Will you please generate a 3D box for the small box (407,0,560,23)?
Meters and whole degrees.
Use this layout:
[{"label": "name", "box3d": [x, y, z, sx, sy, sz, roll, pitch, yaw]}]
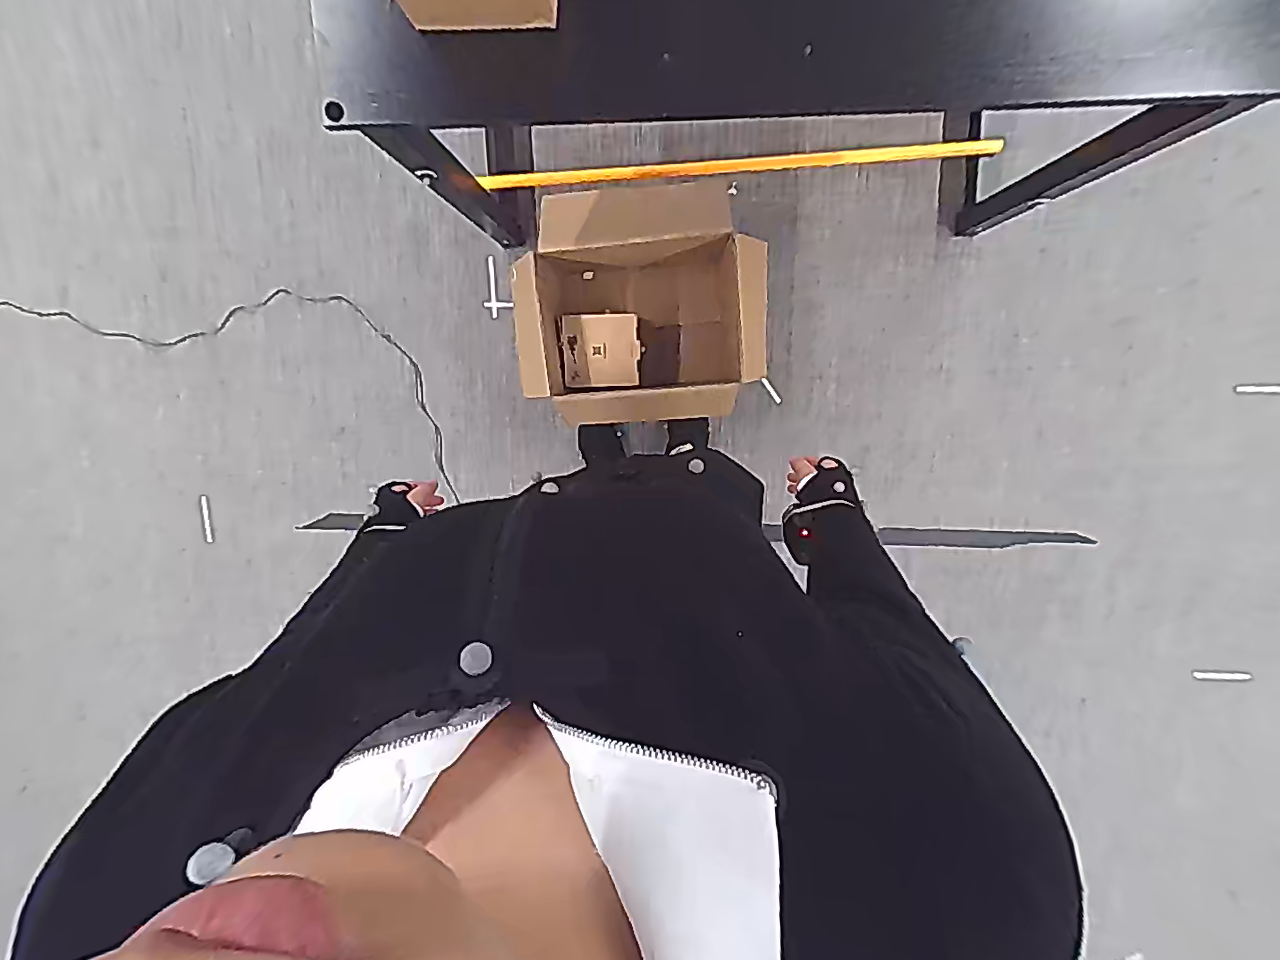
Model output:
[{"label": "small box", "box3d": [-0.183, -0.606, 0.549, 0.179, 0.176, 0.168, 0, 102, 1]}]
